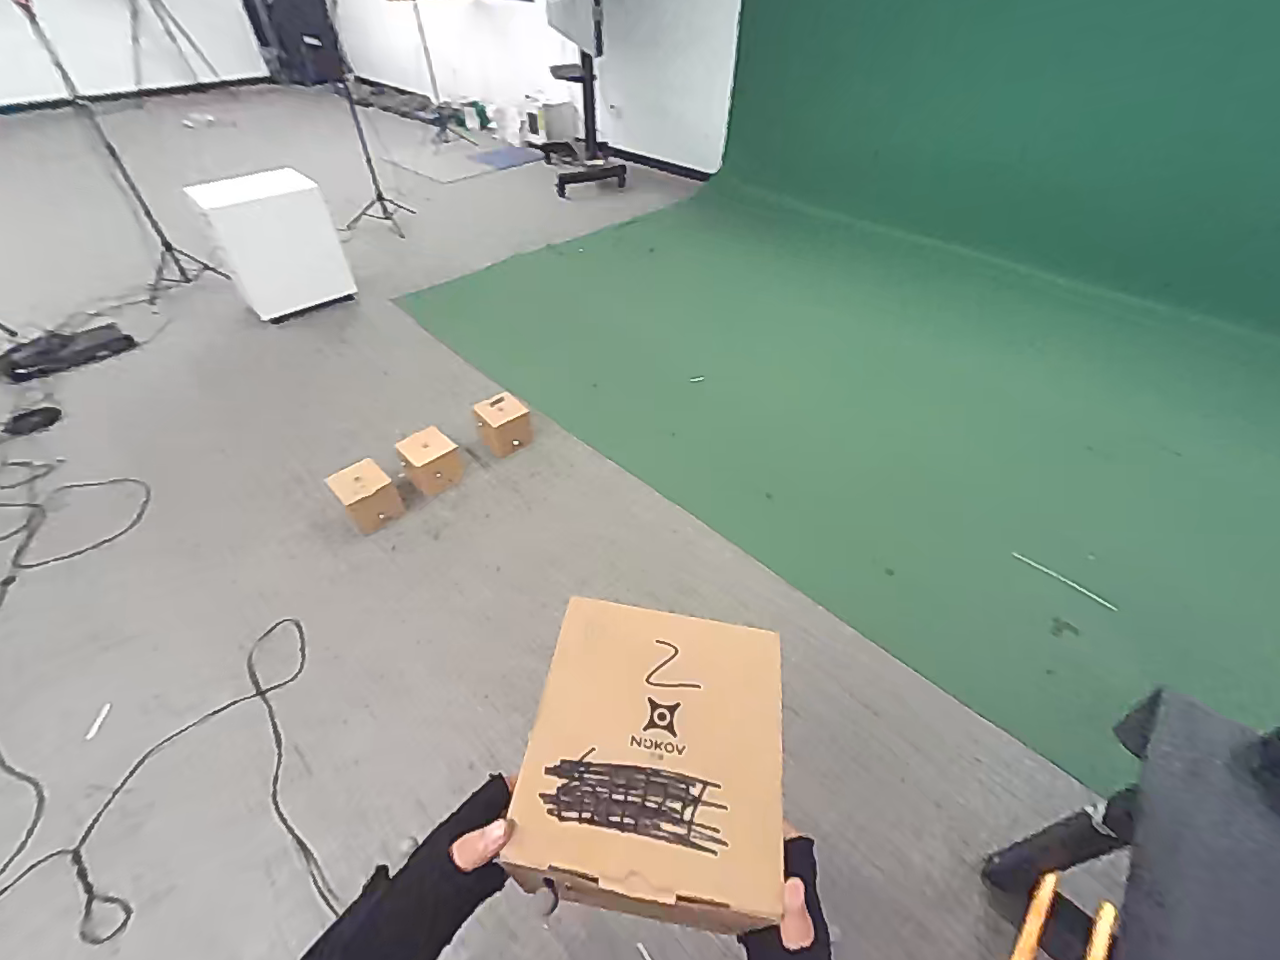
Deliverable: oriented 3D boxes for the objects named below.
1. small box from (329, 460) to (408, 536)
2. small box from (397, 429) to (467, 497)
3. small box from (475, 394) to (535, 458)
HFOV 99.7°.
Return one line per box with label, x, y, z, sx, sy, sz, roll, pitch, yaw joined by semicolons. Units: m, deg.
small box;-0.959;0.066;1.918;0.179;0.176;0.168;35;55;29
small box;-0.783;-0.060;2.056;0.179;0.176;0.168;34;53;30
small box;-0.552;-0.219;2.221;0.168;0.176;0.179;-32;54;-29
